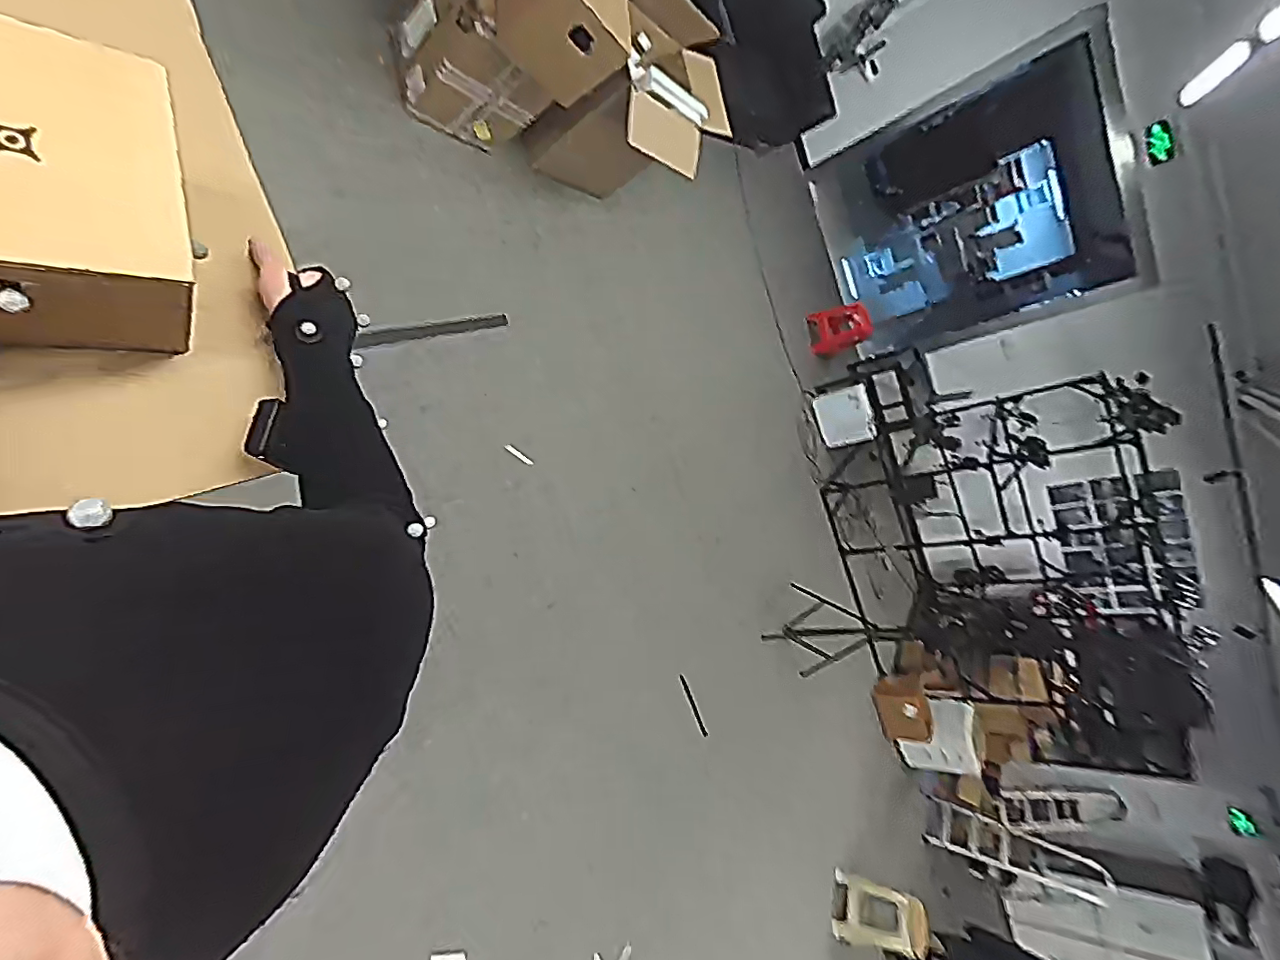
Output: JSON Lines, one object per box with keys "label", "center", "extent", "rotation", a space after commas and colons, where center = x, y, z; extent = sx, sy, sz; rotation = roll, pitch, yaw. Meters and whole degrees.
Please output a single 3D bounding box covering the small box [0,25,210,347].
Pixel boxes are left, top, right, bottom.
{"label": "small box", "center": [-0.454, -0.207, 0.415], "extent": [0.179, 0.176, 0.168], "rotation": [-7, 88, -40]}
